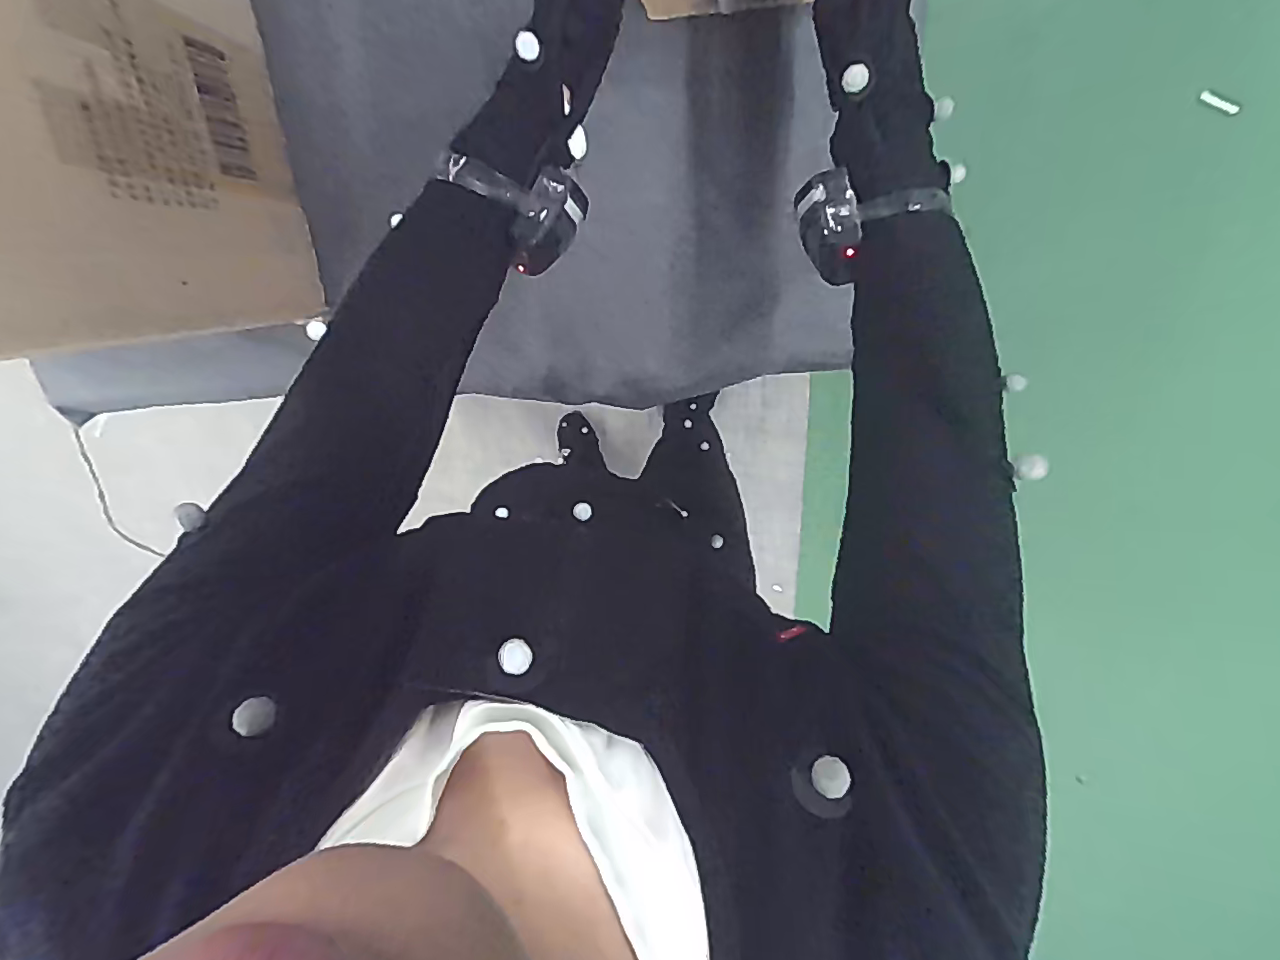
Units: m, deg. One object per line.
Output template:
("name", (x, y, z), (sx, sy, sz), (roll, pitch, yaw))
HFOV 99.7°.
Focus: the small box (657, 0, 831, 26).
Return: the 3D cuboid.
("small box", (0.080, -0.483, 0.400), (0.168, 0.176, 0.179), (3, 112, 11))
